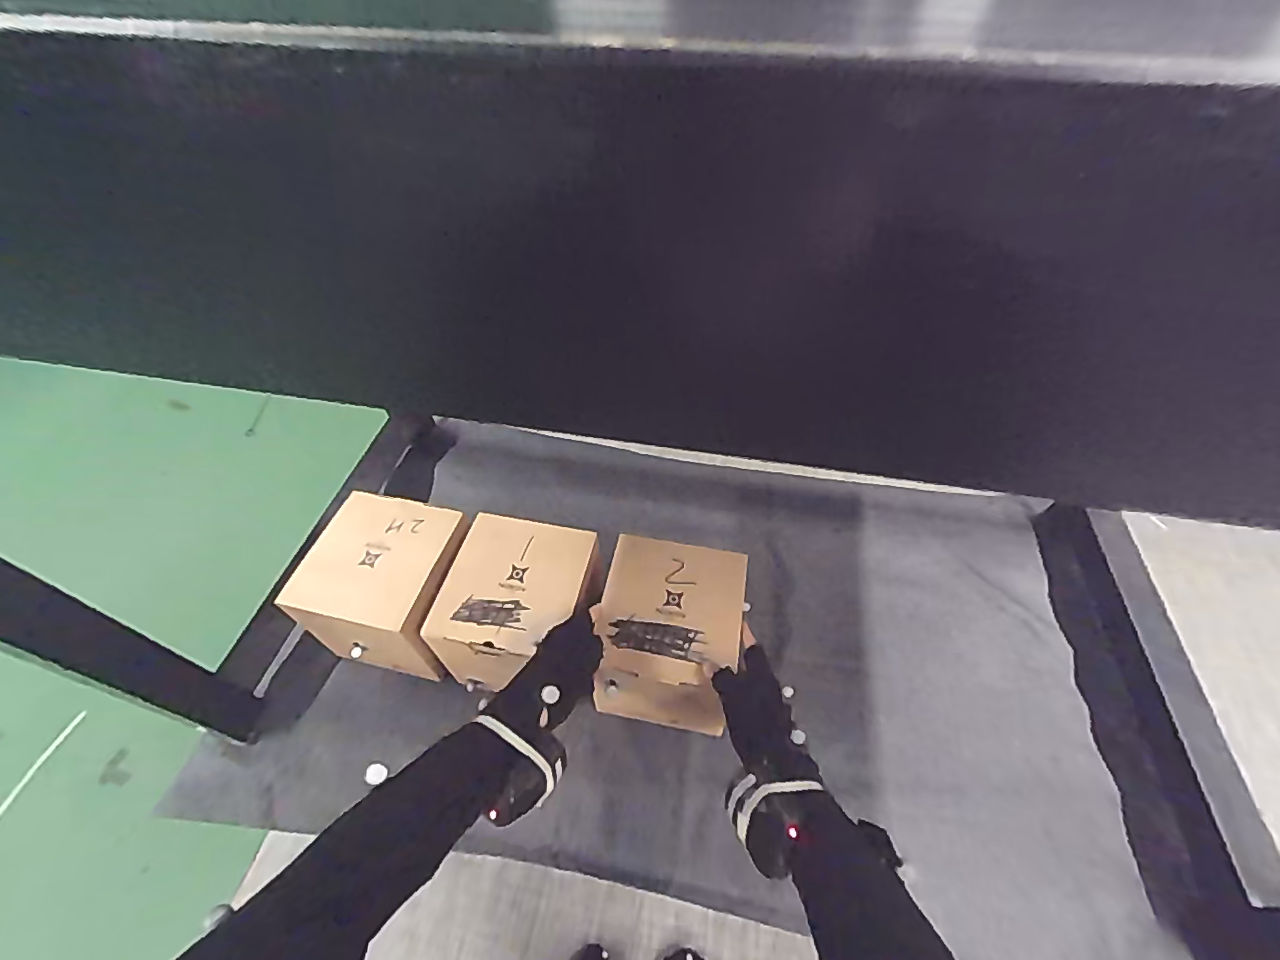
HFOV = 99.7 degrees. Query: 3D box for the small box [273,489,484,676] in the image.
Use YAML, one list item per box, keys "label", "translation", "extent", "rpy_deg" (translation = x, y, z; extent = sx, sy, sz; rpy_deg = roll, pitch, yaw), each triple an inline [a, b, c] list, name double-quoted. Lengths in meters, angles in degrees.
- label: "small box"
  translation: [-0.331, 0.142, 0.731]
  extent: [0.168, 0.176, 0.179]
  rpy_deg: [11, 52, 8]
